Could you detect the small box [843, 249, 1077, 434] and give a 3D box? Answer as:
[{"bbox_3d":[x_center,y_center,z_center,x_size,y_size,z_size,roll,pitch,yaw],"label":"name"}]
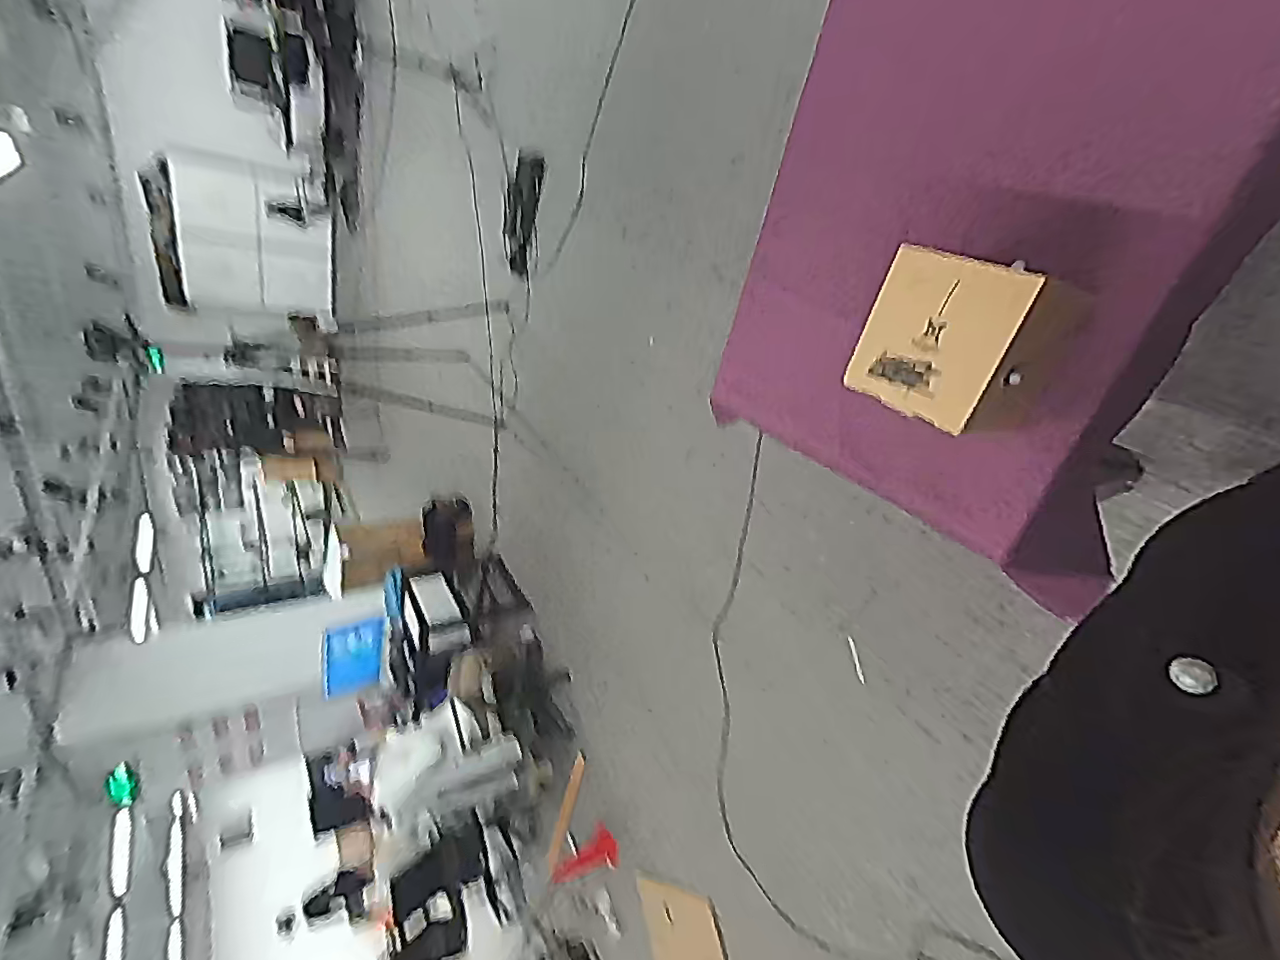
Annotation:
[{"bbox_3d":[0.400,-0.171,0.681,0.168,0.176,0.179,41,126,42],"label":"small box"}]
